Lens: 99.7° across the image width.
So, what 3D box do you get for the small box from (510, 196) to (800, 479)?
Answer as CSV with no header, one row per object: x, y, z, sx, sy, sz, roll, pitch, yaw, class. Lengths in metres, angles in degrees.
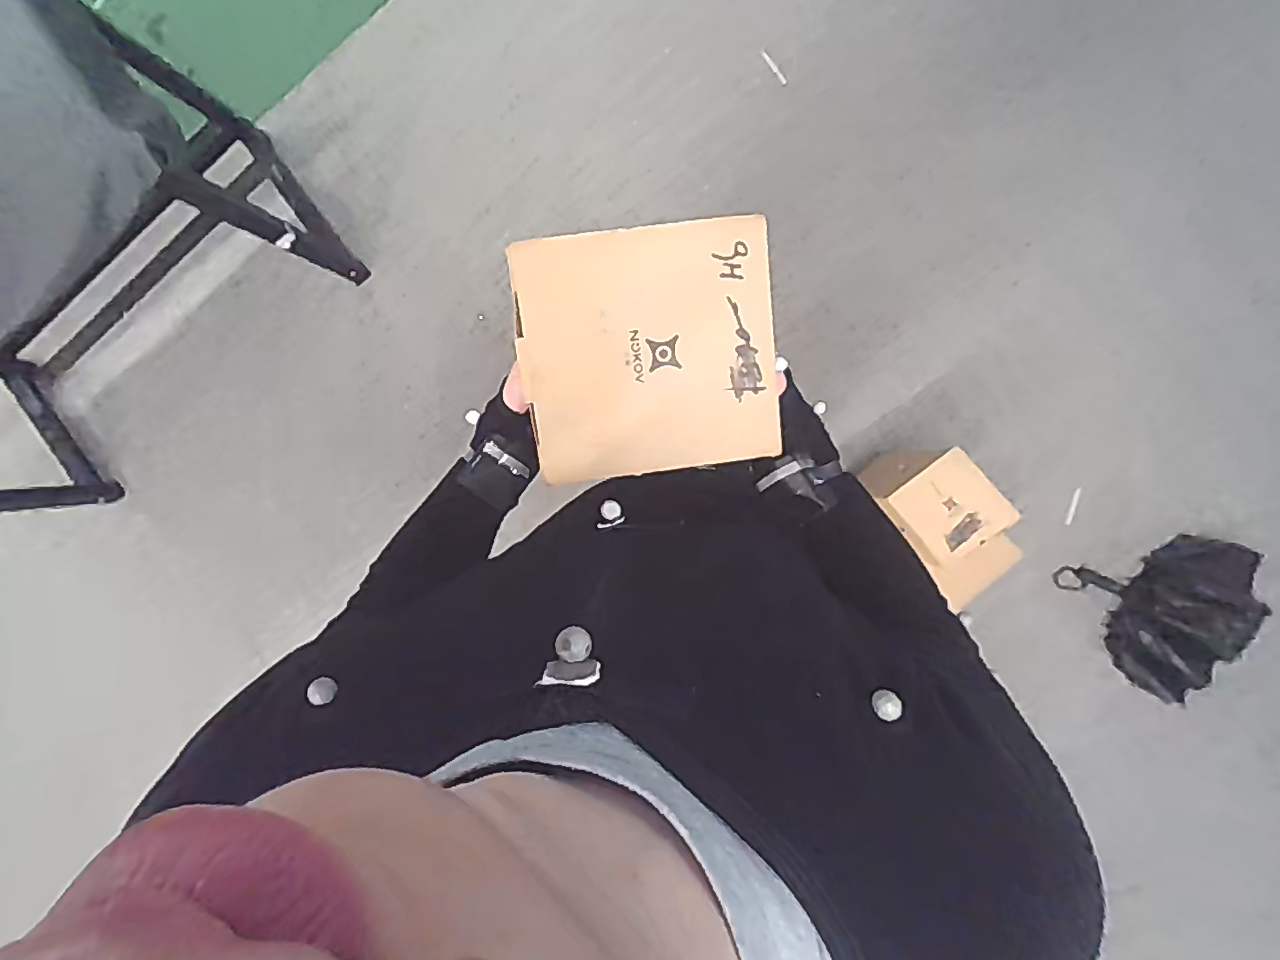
0.010,-0.103,0.430,0.179,0.176,0.168,-8,101,-2,small box

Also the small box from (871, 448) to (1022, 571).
0.598,0.054,1.081,0.168,0.176,0.179,-39,83,6,small box
